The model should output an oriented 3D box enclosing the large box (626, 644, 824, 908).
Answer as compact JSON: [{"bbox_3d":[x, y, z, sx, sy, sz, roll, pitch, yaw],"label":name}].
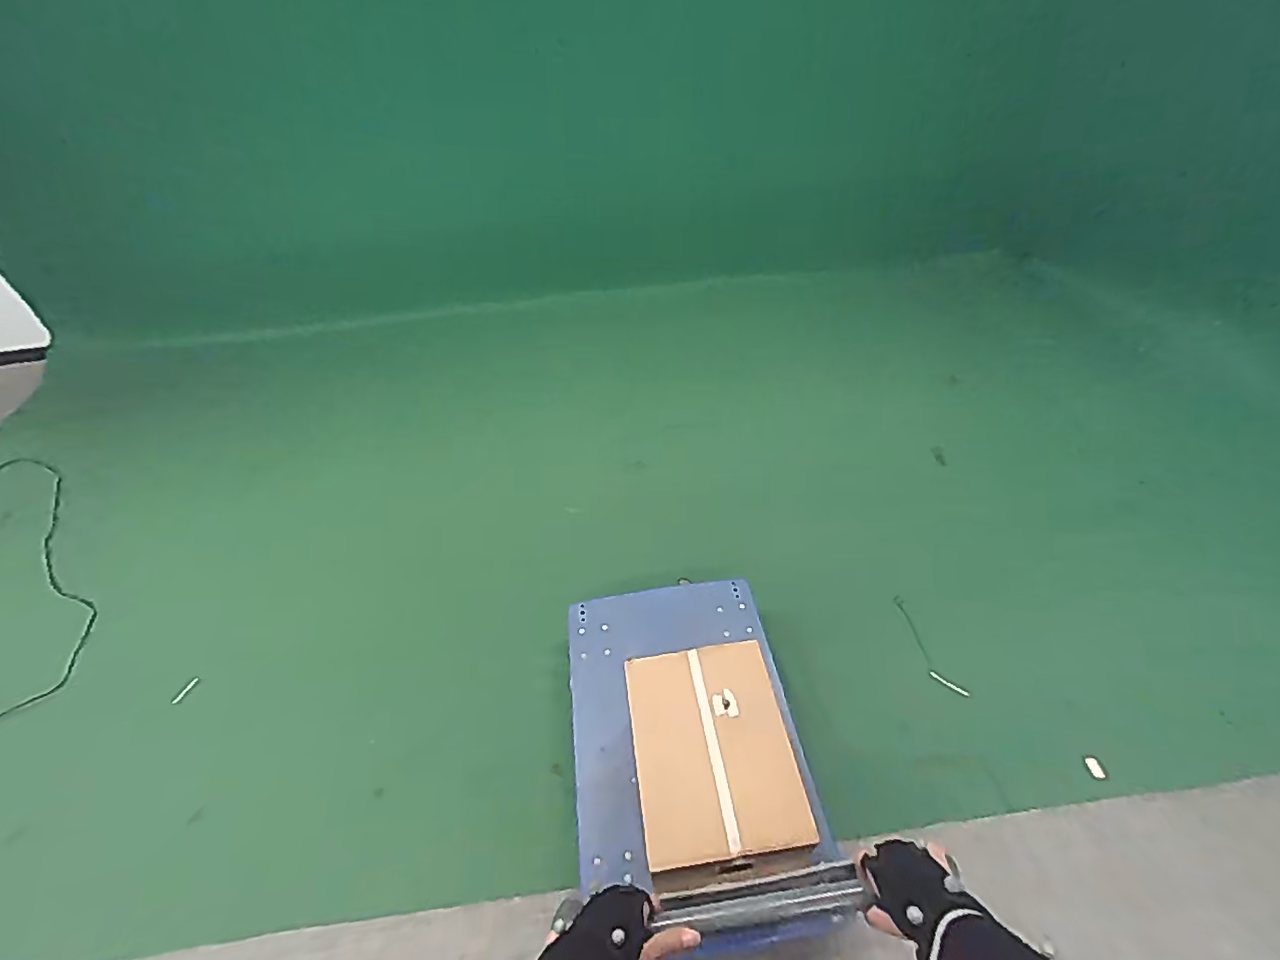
[{"bbox_3d":[0.159,0.638,1.184,0.320,0.320,0.408,-8,44,-4],"label":"large box"}]
